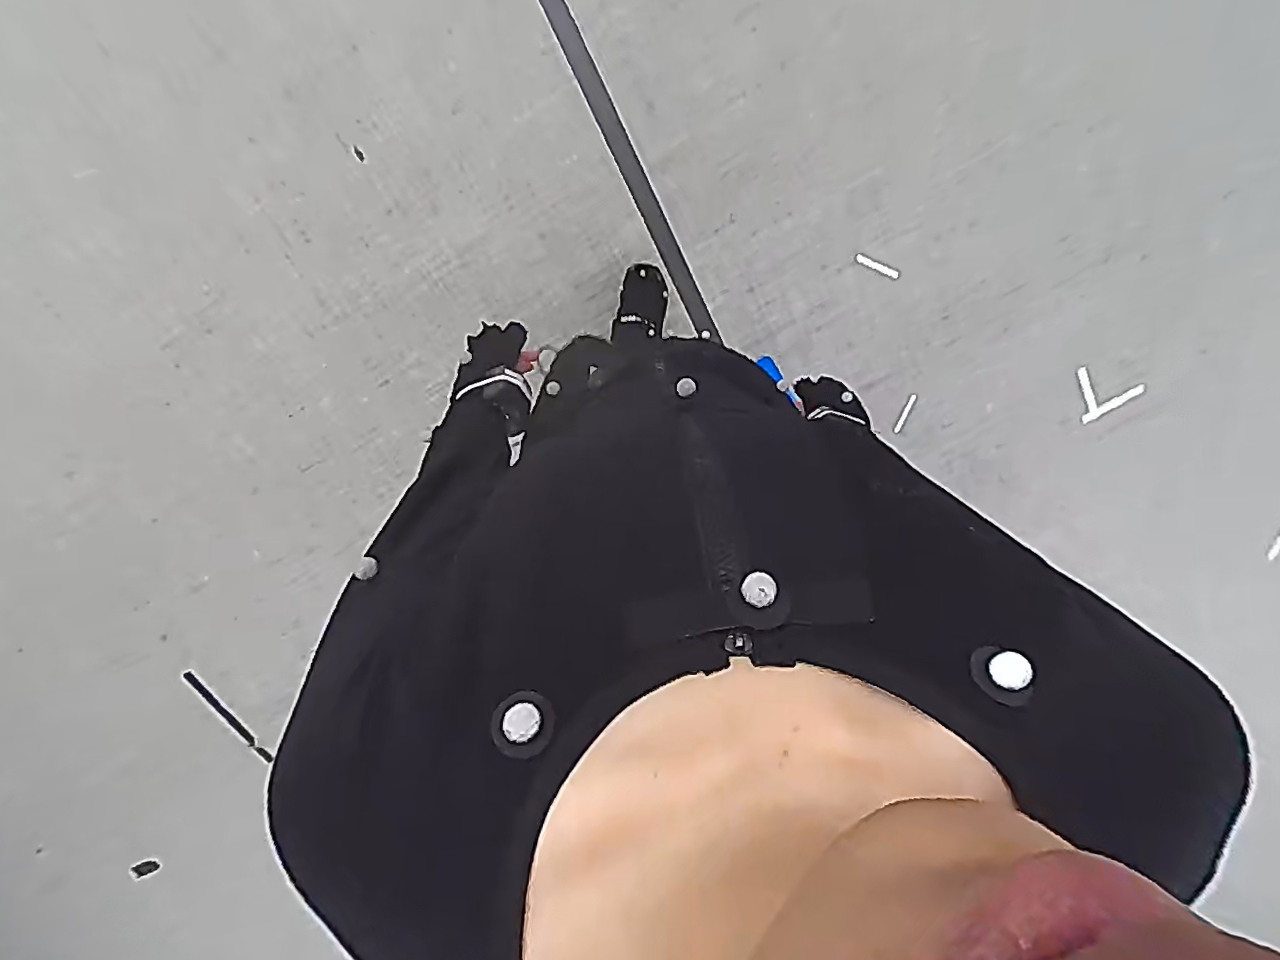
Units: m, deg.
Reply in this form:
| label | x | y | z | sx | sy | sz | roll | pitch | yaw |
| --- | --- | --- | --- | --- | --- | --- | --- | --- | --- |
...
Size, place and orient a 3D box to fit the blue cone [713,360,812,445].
| label | x | y | z | sx | sy | sz | roll | pitch | yaw |
| --- | --- | --- | --- | --- | --- | --- | --- | --- | --- |
| blue cone | 0.316 | -0.149 | 1.288 | 0.192 | 0.380 | 0.193 | -32 | 108 | 7 |
